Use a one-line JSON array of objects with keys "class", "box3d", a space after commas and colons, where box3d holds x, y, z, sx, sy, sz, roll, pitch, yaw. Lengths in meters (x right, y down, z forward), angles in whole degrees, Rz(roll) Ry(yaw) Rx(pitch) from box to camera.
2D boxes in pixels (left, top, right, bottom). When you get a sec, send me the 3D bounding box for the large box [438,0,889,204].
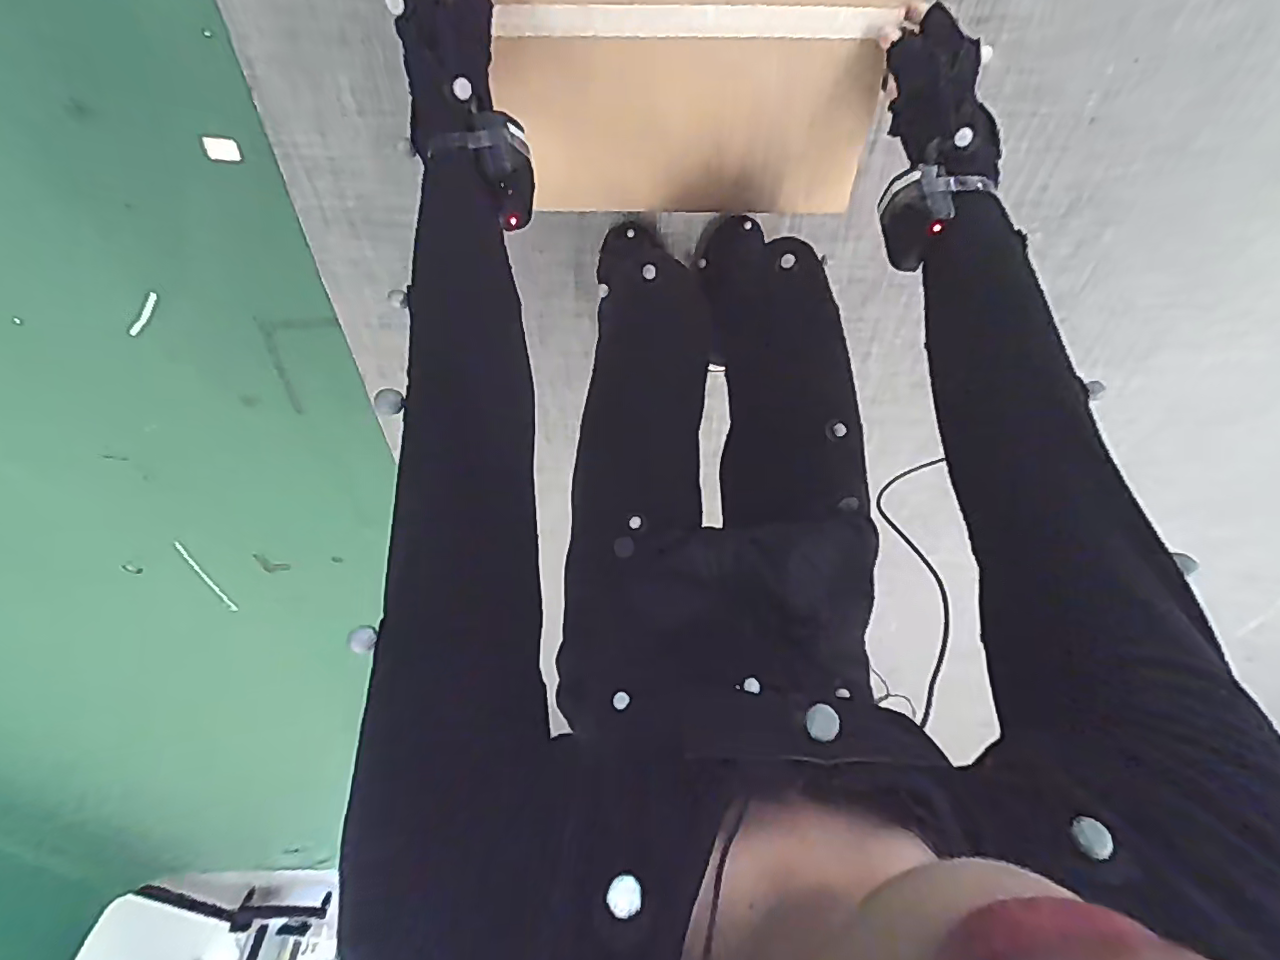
[{"class": "large box", "box3d": [0.022, -0.515, 0.588, 0.408, 0.320, 0.320, 0, 132, -1]}]
